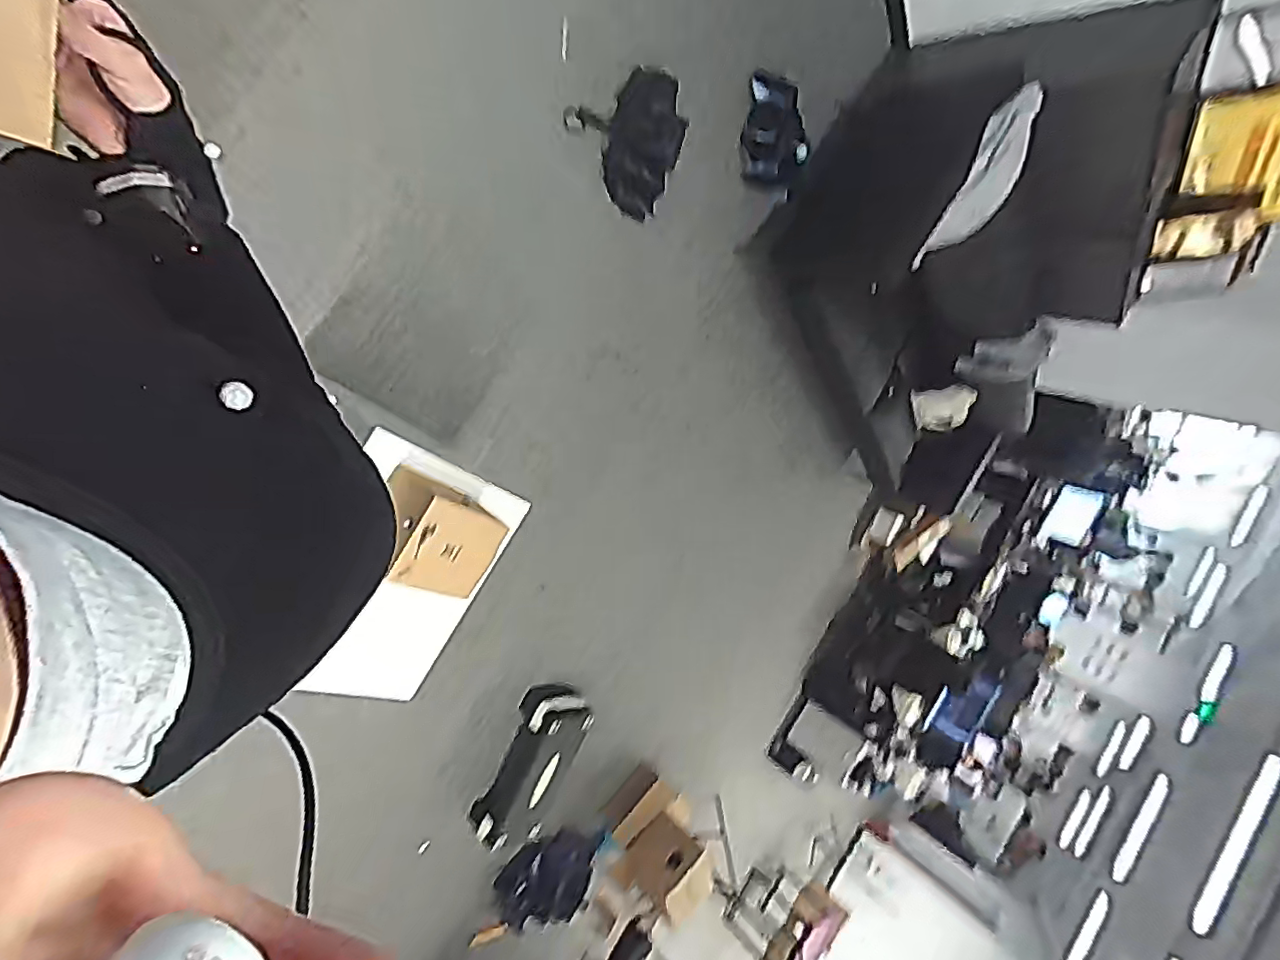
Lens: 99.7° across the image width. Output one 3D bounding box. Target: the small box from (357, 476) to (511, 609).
[{"bbox_3d":[-0.382,0.113,1.004,0.179,0.176,0.168,34,86,-49],"label":"small box"}]
